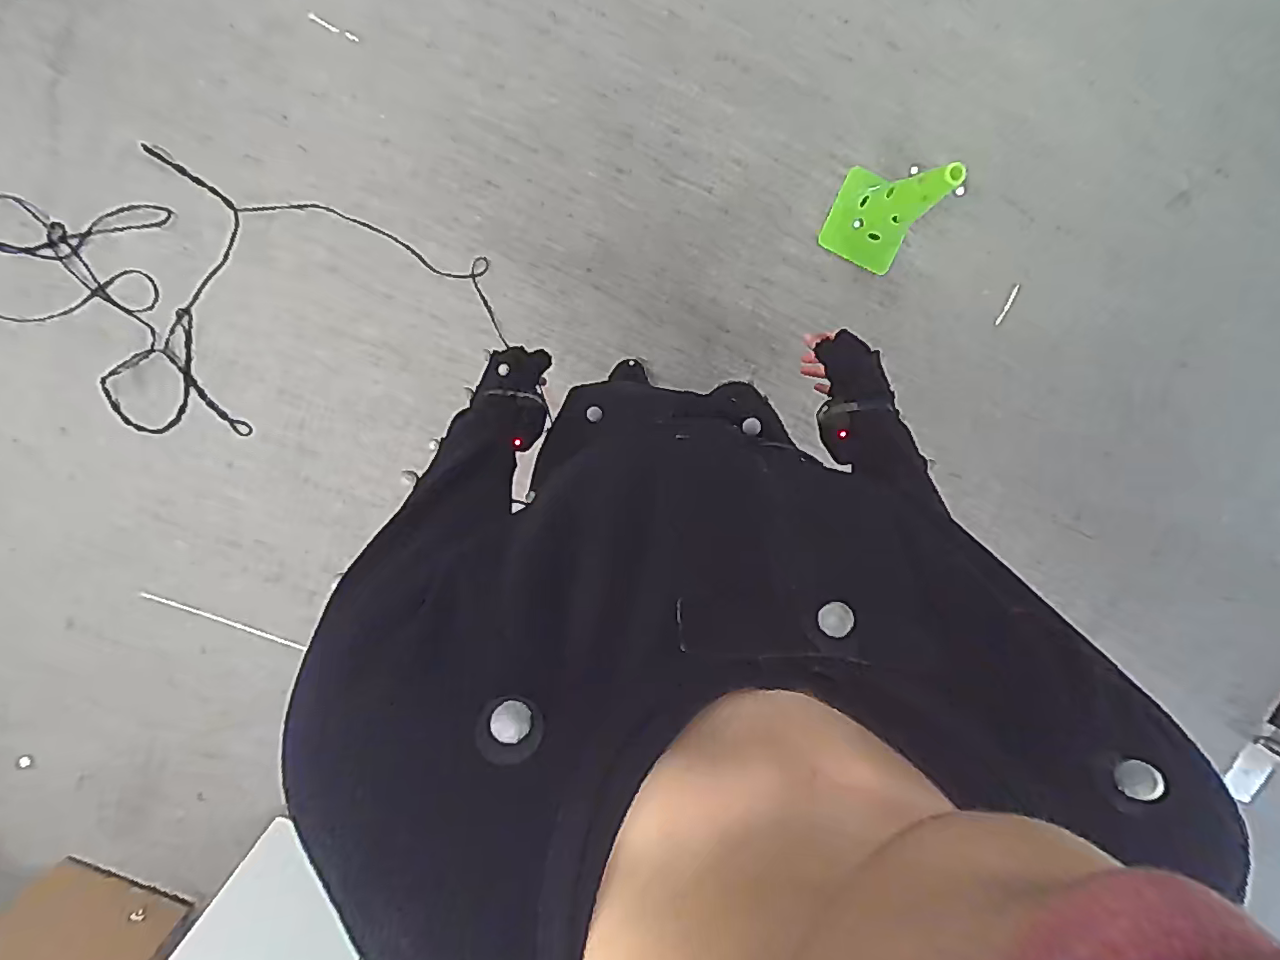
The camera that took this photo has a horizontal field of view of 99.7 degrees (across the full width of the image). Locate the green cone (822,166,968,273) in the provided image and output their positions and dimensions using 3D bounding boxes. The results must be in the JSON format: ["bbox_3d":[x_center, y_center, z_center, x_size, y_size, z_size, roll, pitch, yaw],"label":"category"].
[{"bbox_3d":[0.575,-0.600,1.162,0.200,0.368,0.202,22,101,-6],"label":"green cone"}]
